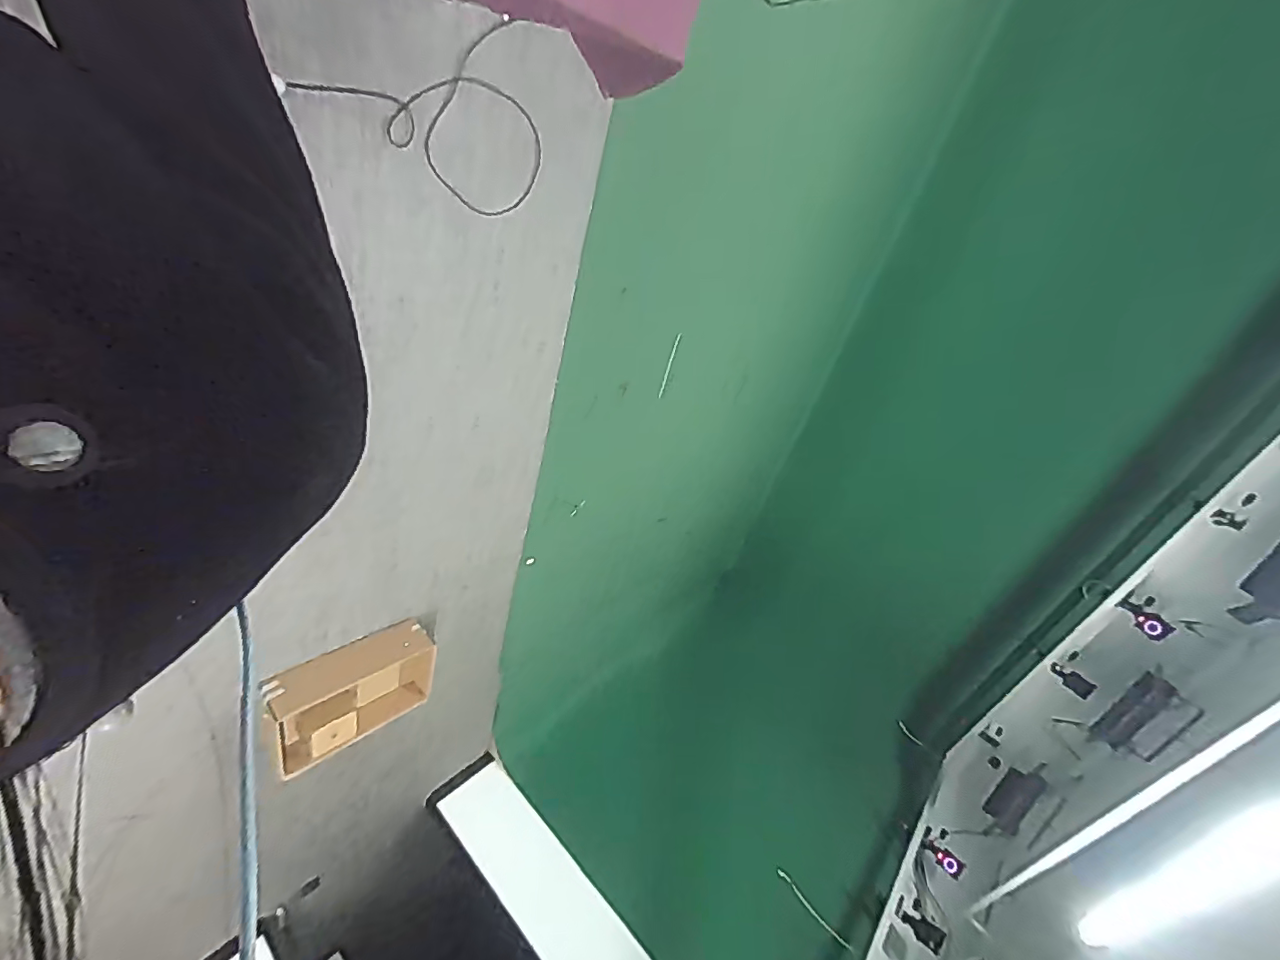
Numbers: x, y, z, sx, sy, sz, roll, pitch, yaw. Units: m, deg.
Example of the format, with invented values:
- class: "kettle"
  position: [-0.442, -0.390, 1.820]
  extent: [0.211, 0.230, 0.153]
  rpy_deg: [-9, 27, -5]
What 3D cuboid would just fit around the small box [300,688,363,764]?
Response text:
- class: "small box"
  position: [-1.219, 0.966, 2.134]
  extent: [0.168, 0.176, 0.179]
  rpy_deg: [-21, 137, -48]
